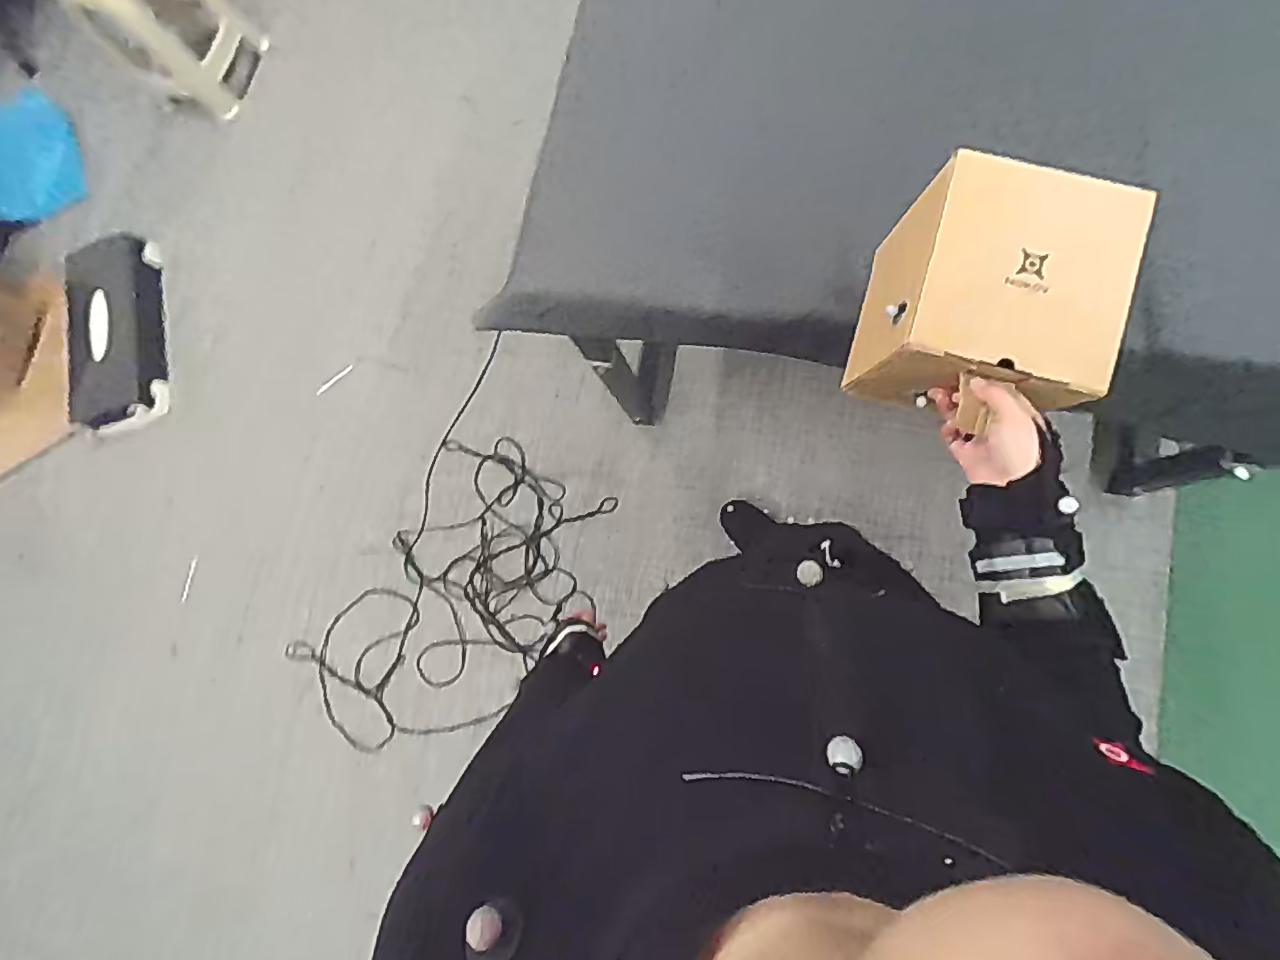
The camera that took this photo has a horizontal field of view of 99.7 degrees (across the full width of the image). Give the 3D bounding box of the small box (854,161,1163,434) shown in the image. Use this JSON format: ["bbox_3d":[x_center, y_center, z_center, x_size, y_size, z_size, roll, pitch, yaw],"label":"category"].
[{"bbox_3d":[0.329,-0.156,0.520,0.168,0.176,0.179,16,88,3],"label":"small box"}]
